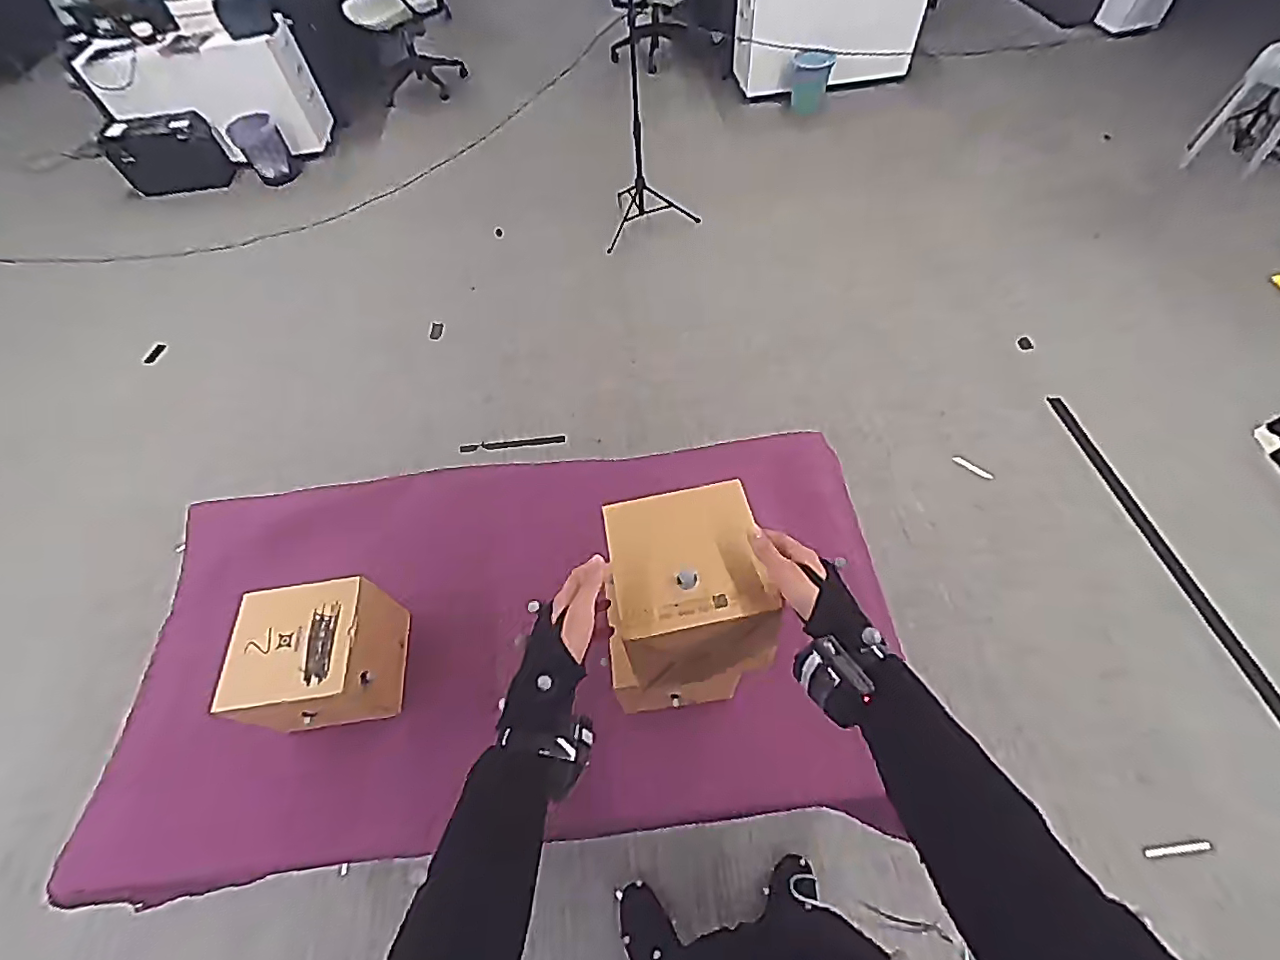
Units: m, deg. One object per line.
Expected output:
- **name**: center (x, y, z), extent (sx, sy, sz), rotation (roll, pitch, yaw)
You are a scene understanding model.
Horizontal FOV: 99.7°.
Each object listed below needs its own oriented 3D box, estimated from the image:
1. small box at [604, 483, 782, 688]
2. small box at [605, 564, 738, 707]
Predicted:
- **small box**: center (0.059, 0.133, 0.646), extent (0.168, 0.179, 0.176), rotation (-11, 53, -2)
- **small box**: center (0.044, 0.227, 0.798), extent (0.168, 0.176, 0.179), rotation (-7, 57, 0)
